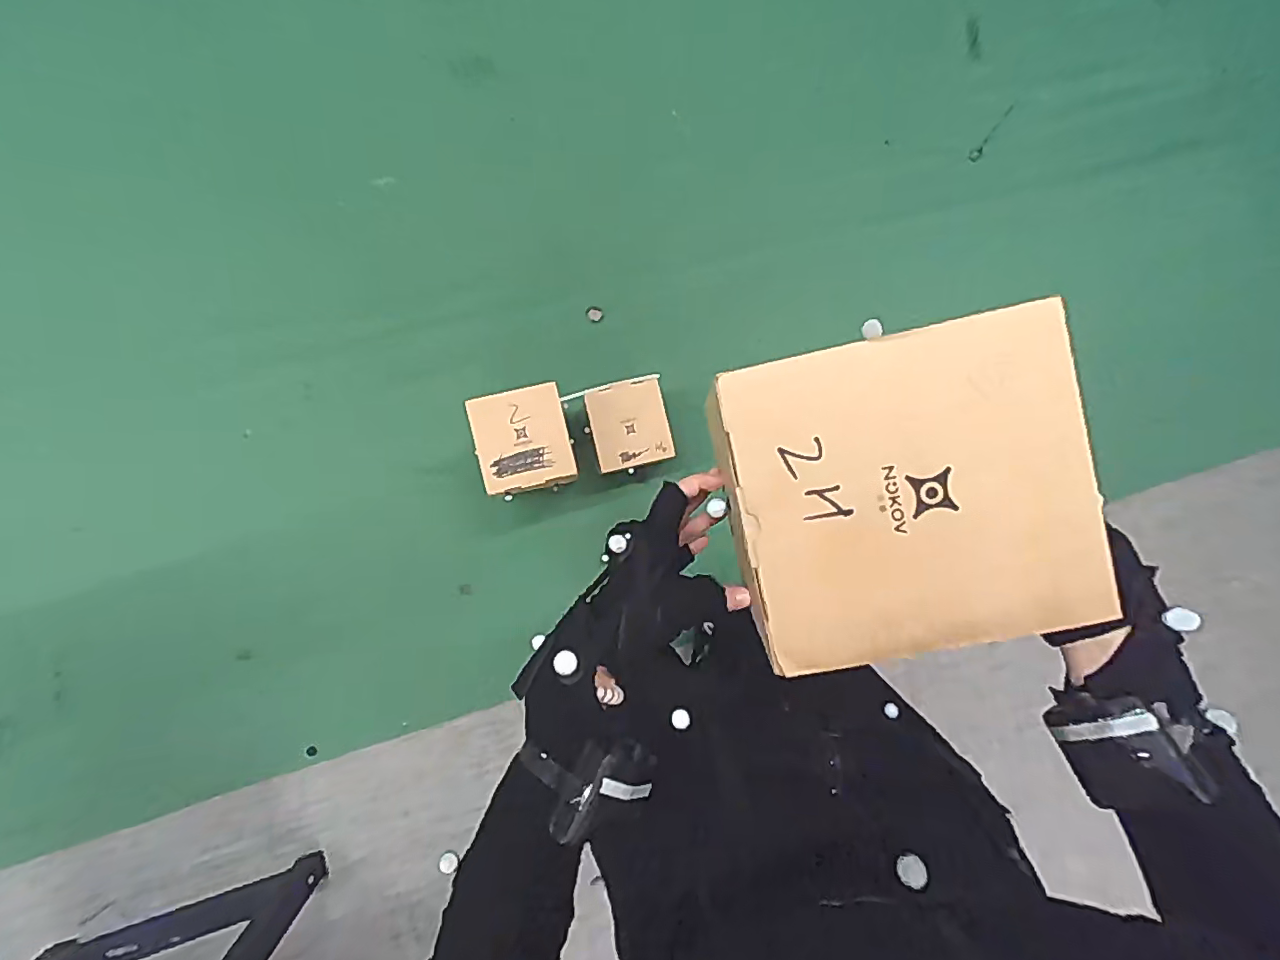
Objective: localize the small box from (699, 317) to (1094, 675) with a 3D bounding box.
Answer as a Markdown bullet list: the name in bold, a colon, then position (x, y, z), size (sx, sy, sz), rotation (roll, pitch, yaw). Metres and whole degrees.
- **small box**: position (0.142, 0.007, 0.364), size (0.179, 0.176, 0.168), rotation (-12, 91, 5)

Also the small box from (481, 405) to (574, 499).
- **small box**: position (-0.245, -0.060, 1.214), size (0.168, 0.176, 0.179), rotation (-11, 90, -7)

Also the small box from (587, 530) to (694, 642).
- **small box**: position (-0.003, 0.238, 1.246), size (0.179, 0.176, 0.168), rotation (29, 106, 16)
